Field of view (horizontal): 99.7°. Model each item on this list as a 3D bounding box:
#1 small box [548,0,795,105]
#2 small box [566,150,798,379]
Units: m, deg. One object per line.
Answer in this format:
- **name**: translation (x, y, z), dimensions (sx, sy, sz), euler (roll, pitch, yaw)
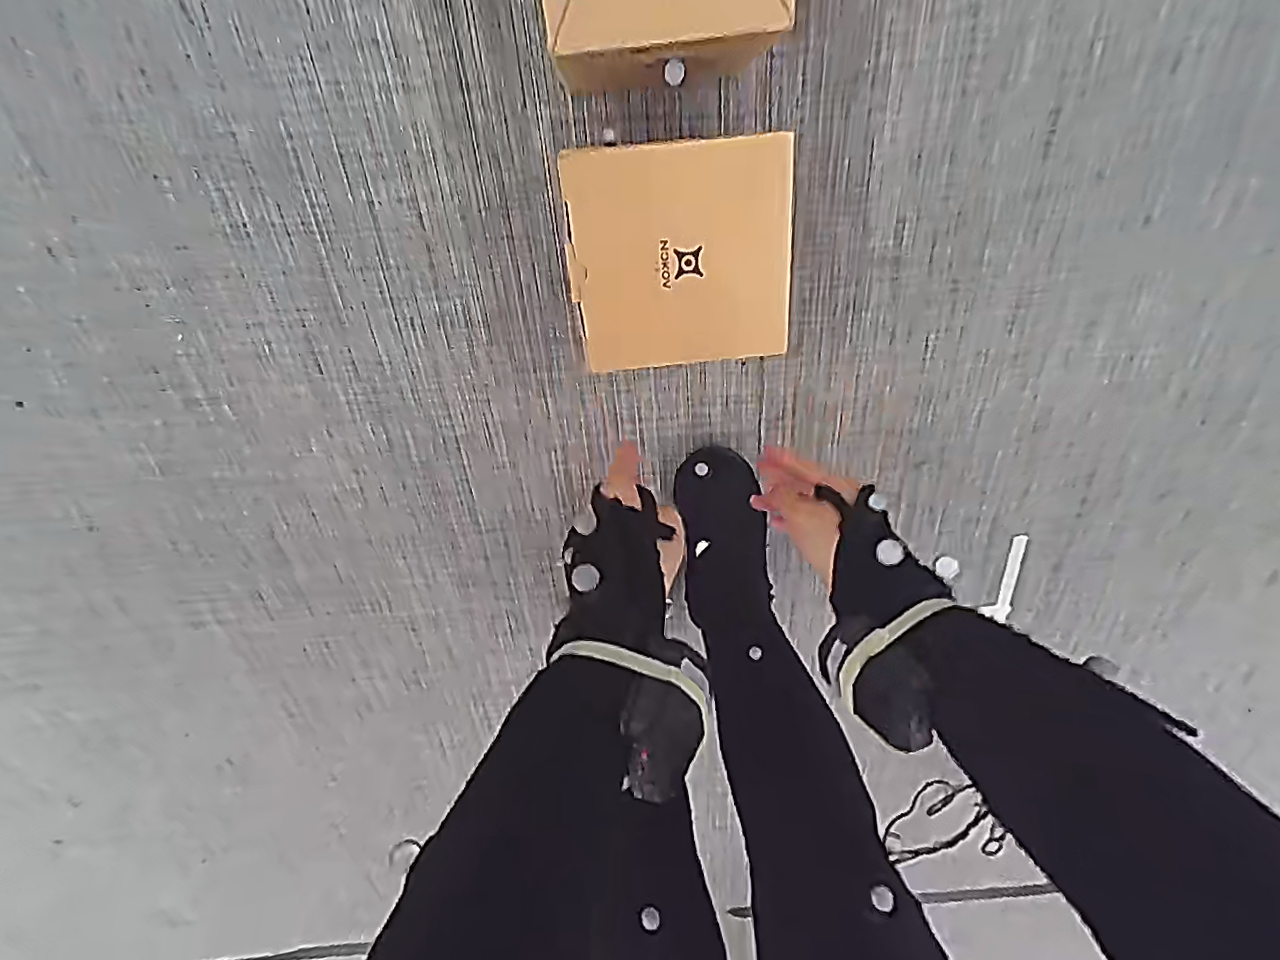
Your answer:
- **small box**: translation (0.012, -0.399, 0.395), dimensions (0.168, 0.176, 0.179), euler (-6, 118, 0)
- **small box**: translation (0.032, -0.205, 0.505), dimensions (0.179, 0.176, 0.168), euler (-5, 118, 0)
